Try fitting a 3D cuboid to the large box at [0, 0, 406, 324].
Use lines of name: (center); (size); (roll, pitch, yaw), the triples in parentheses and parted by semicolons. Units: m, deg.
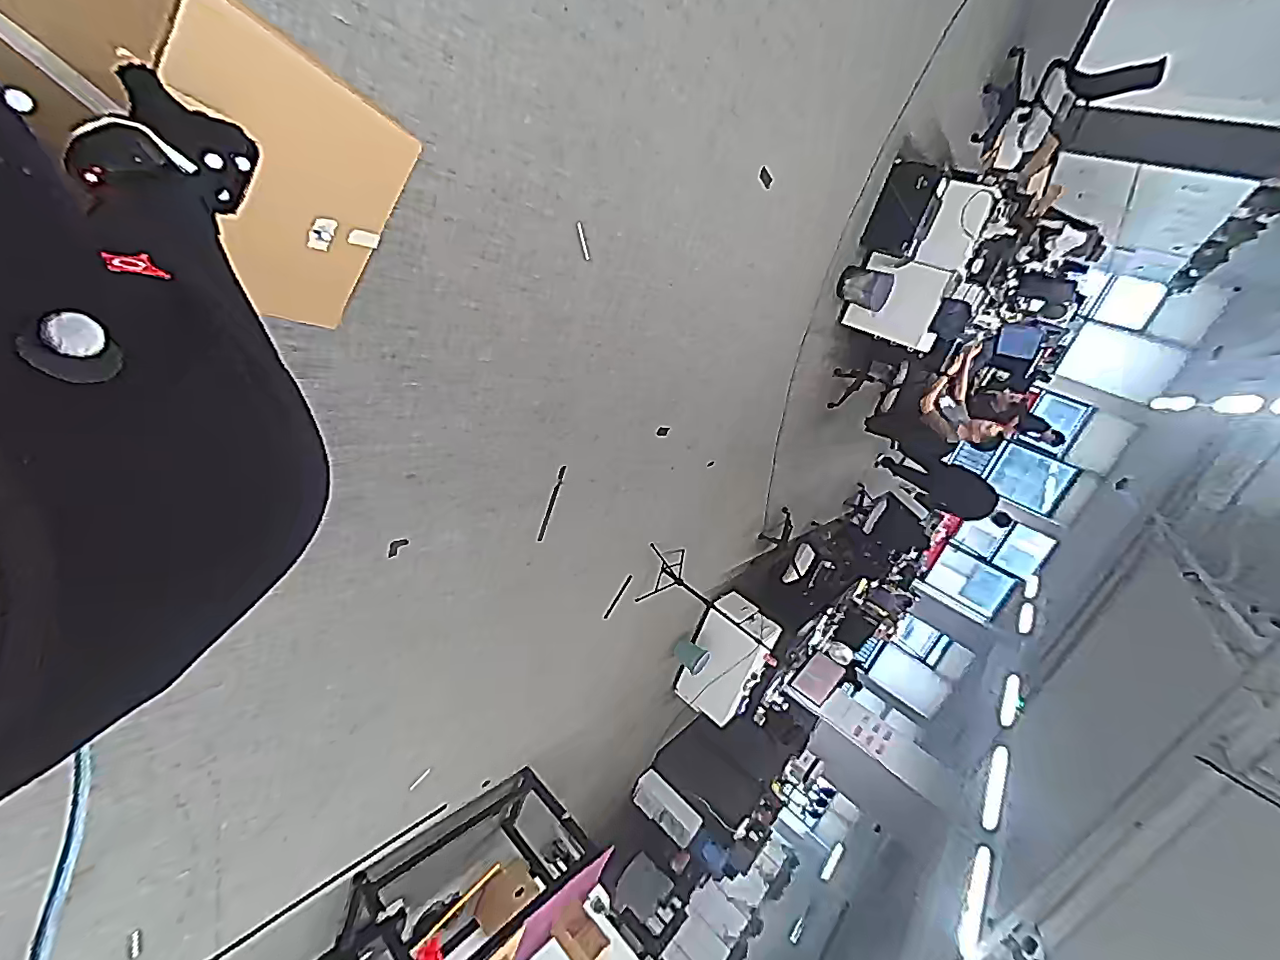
large box: (-0.606, -0.460, 0.707); (0.320, 0.408, 0.320); (-55, 168, 14)
